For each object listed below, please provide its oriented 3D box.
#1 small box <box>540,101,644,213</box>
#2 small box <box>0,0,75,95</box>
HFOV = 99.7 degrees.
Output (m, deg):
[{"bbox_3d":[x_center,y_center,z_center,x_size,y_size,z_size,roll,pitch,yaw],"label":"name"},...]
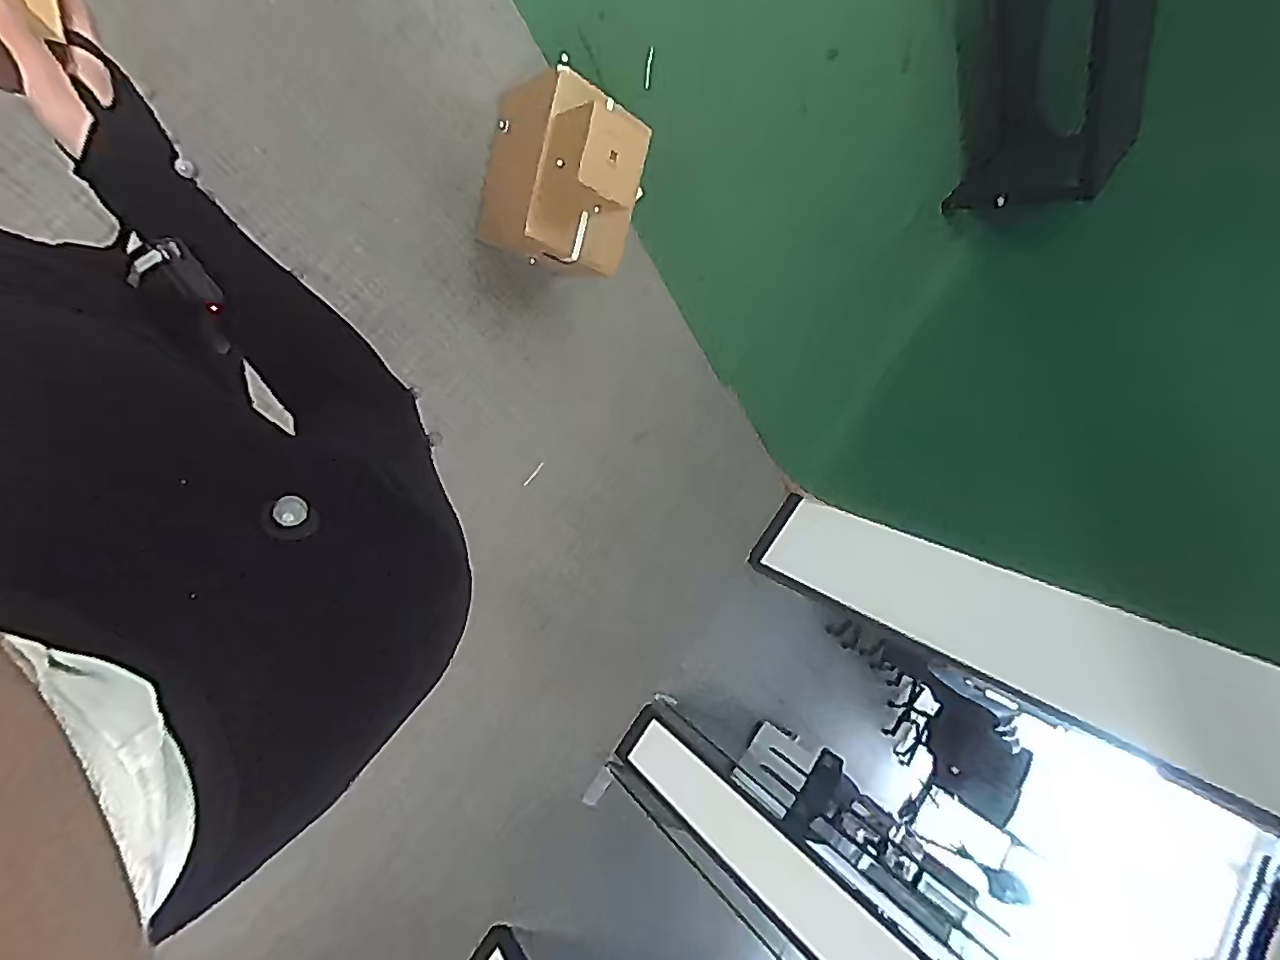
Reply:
[{"bbox_3d":[-0.122,-0.770,1.314,0.168,0.176,0.179,7,102,-43],"label":"small box"},{"bbox_3d":[-0.534,-0.401,0.378,0.179,0.176,0.168,-12,111,-40],"label":"small box"}]
